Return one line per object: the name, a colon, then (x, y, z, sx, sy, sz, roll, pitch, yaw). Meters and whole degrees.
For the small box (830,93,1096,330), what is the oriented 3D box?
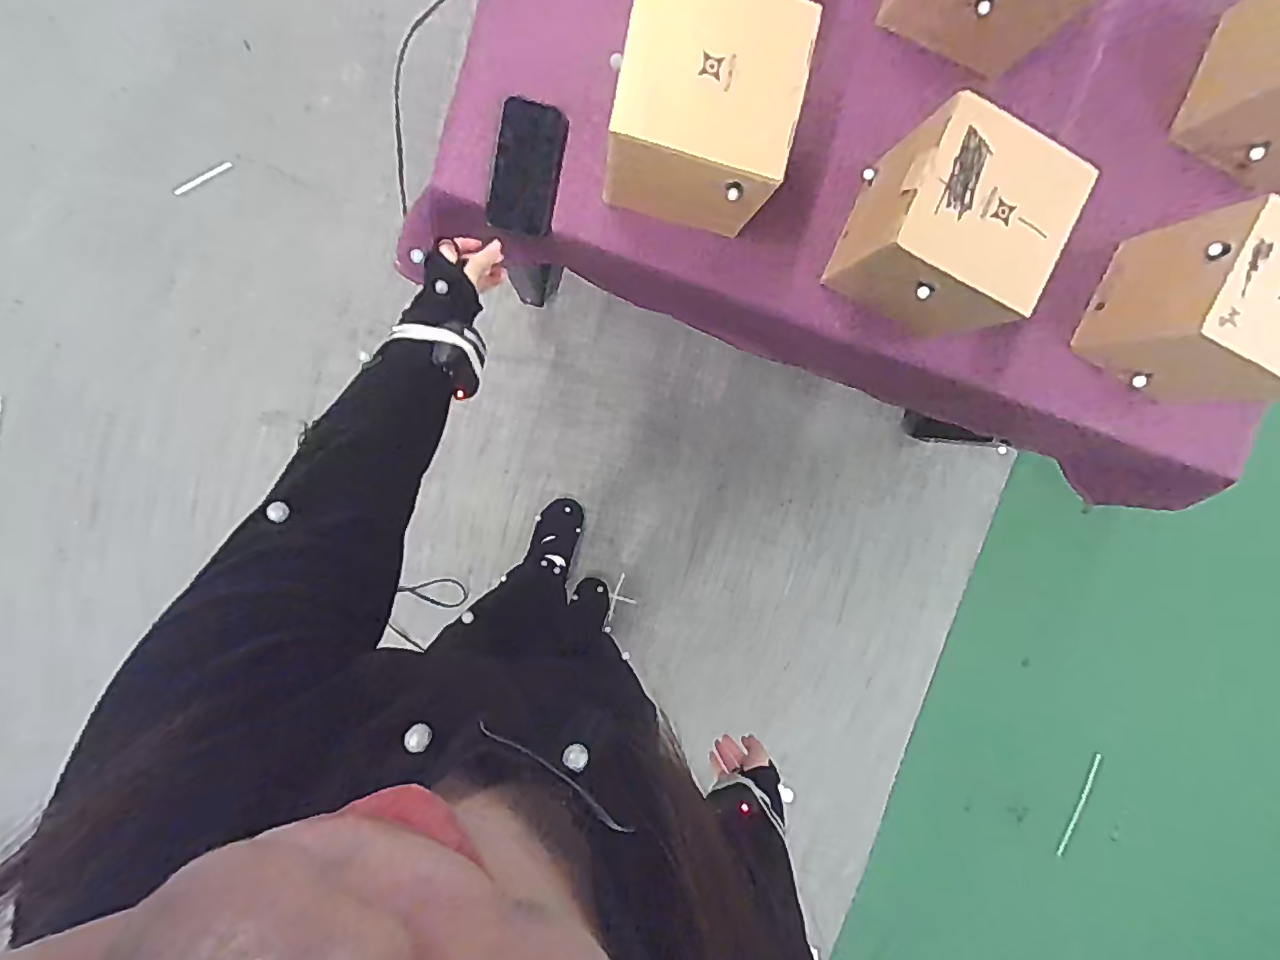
small box: (0.358, -0.291, 0.637, 0.179, 0.176, 0.168, 23, 94, -10)

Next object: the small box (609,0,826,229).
small box: (0.068, -0.398, 0.589, 0.179, 0.176, 0.168, 11, 96, -9)

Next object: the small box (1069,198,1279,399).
small box: (0.717, -0.214, 0.689, 0.179, 0.176, 0.168, 25, 93, -9)

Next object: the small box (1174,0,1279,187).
small box: (0.831, -0.506, 0.664, 0.168, 0.176, 0.179, 21, 95, -8)
